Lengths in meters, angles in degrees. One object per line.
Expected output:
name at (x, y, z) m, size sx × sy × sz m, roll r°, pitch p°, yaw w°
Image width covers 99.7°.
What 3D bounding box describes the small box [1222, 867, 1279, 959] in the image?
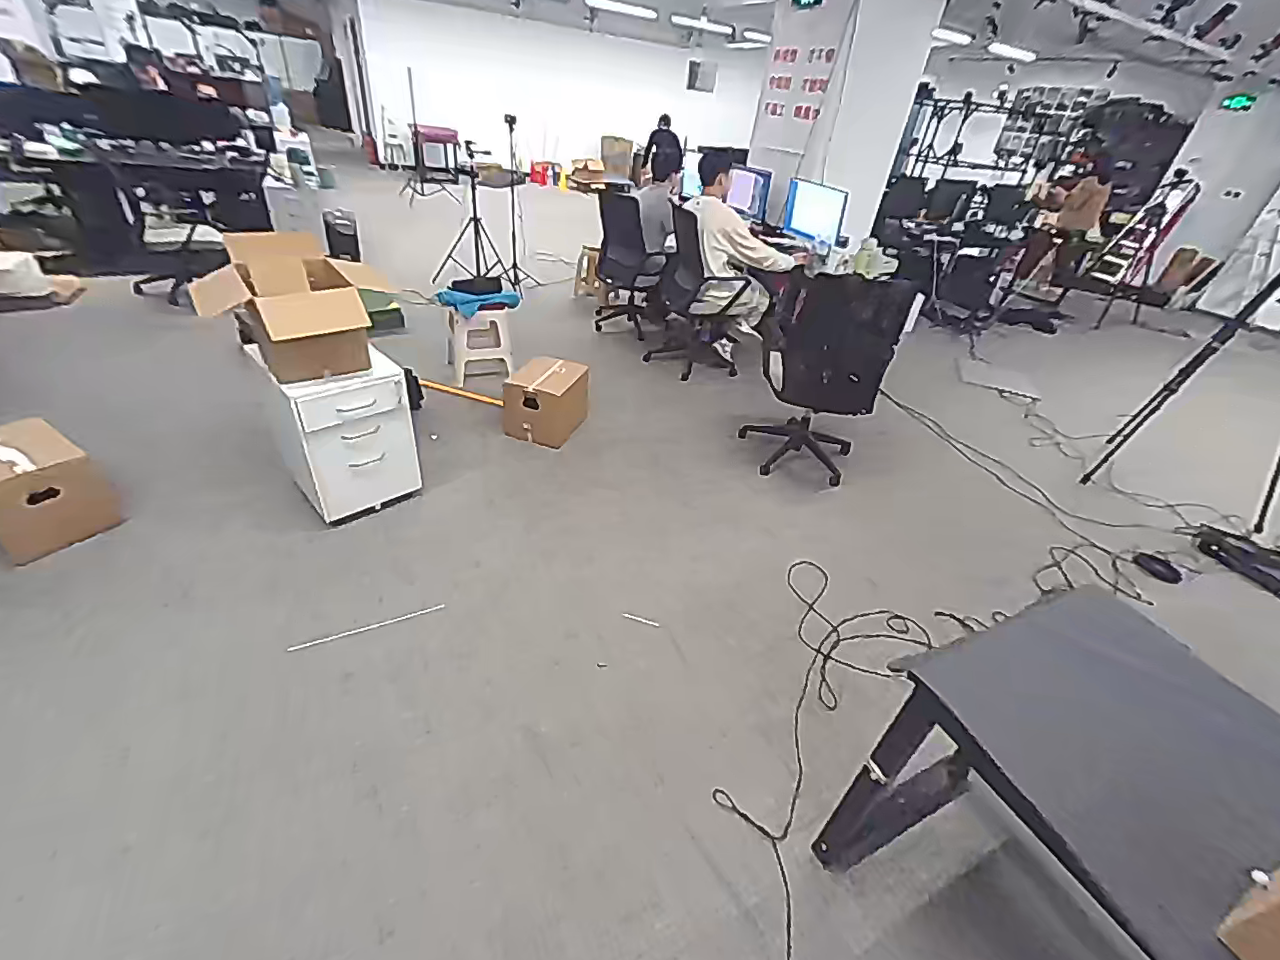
small box at (0.854, 0.539, 0.616) m, size 0.168 × 0.176 × 0.179 m, roll -9°, pitch 36°, yaw -25°
